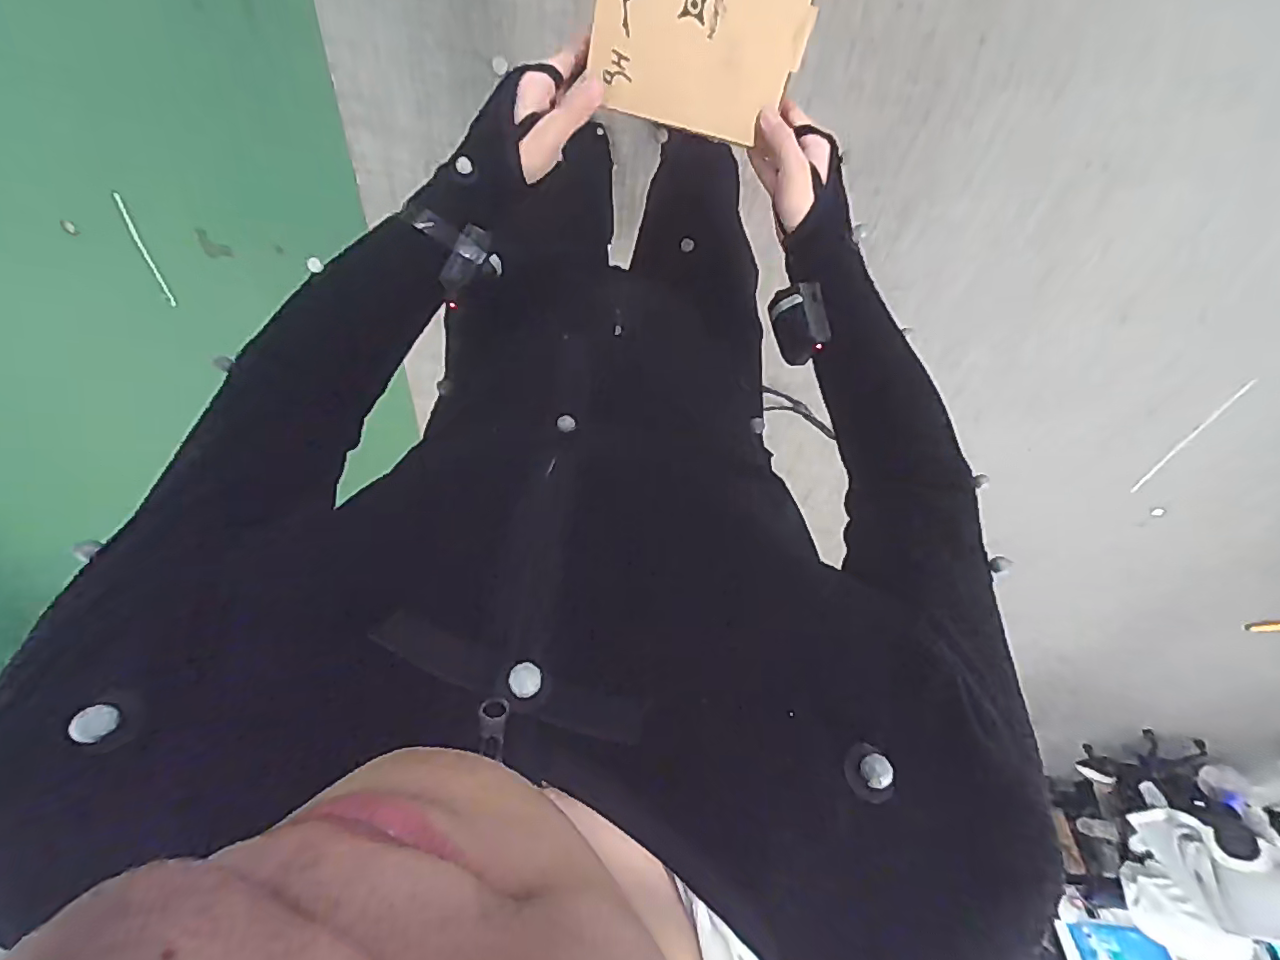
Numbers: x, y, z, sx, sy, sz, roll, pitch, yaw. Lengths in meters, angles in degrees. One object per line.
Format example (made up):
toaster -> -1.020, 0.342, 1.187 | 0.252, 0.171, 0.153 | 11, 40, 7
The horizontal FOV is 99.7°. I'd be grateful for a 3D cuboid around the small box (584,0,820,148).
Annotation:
small box -> 0.048, -0.425, 0.498 | 0.179, 0.176, 0.168 | 7, 123, -12
